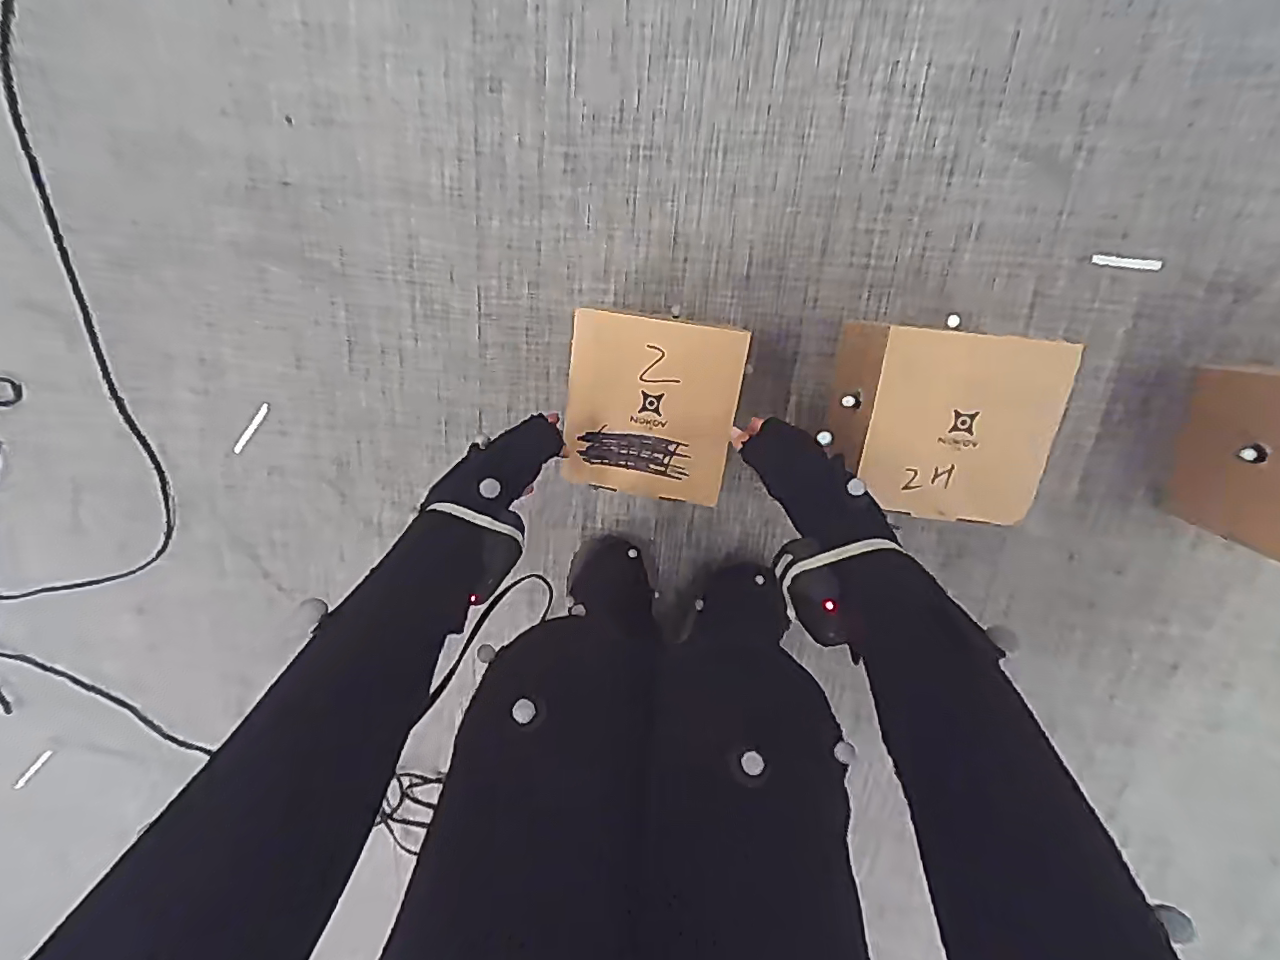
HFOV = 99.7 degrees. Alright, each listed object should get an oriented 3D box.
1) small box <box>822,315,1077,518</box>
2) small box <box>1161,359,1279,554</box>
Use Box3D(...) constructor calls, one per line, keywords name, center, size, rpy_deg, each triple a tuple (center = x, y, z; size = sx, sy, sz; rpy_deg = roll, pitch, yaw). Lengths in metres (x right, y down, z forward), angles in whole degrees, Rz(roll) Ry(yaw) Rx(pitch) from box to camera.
Box3D(name="small box", center=(0.305, -0.079, 0.581), size=(0.168, 0.176, 0.179), rpy_deg=(7, 108, 5))
Box3D(name="small box", center=(0.703, -0.028, 0.557), size=(0.168, 0.176, 0.179), rpy_deg=(2, 106, 5))
